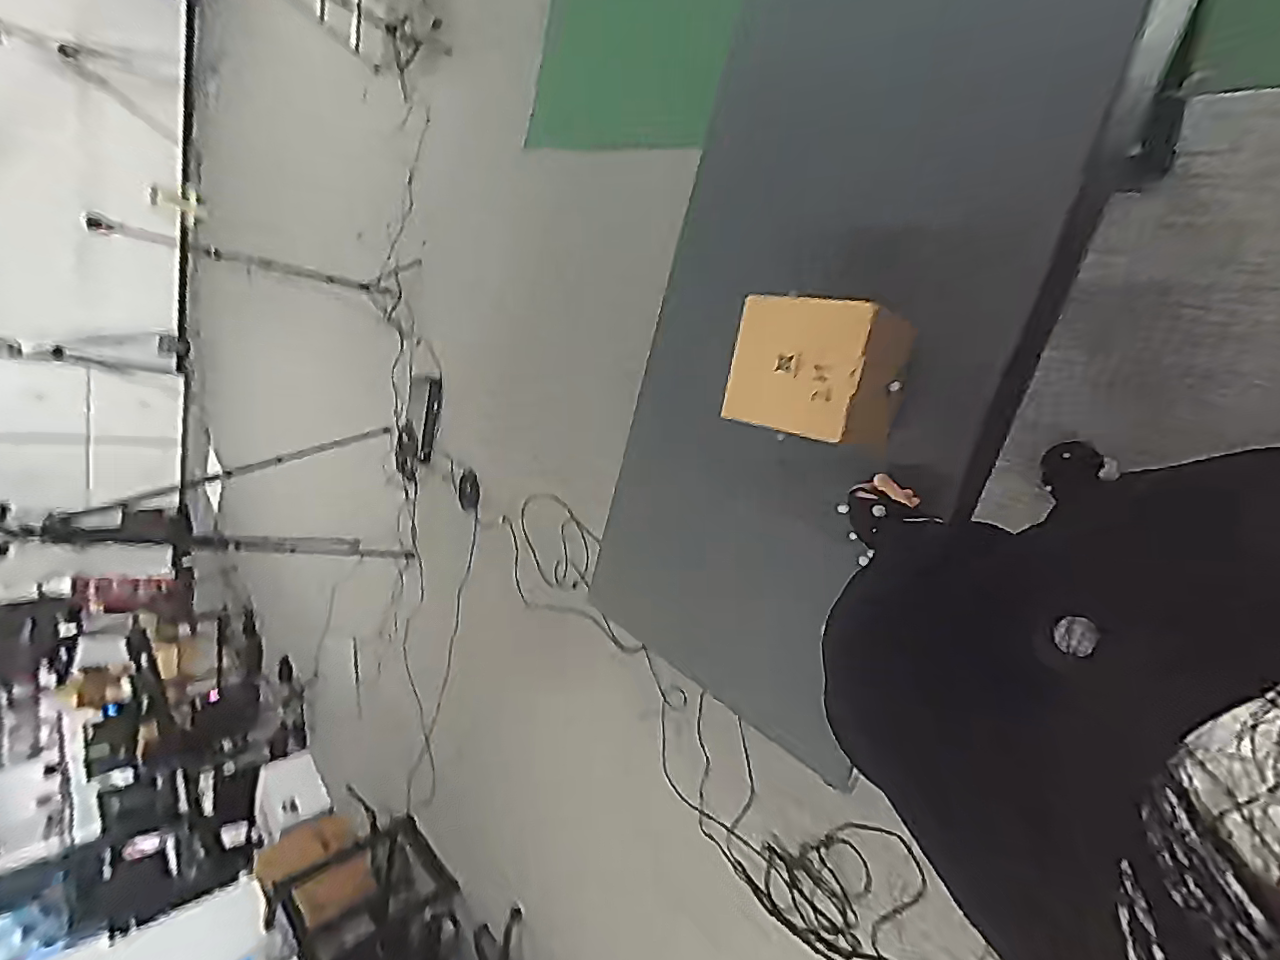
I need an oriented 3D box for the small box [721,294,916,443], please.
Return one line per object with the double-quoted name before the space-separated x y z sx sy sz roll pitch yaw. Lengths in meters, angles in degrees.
"small box" 0.241 -0.146 0.732 0.179 0.176 0.168 20 104 40
